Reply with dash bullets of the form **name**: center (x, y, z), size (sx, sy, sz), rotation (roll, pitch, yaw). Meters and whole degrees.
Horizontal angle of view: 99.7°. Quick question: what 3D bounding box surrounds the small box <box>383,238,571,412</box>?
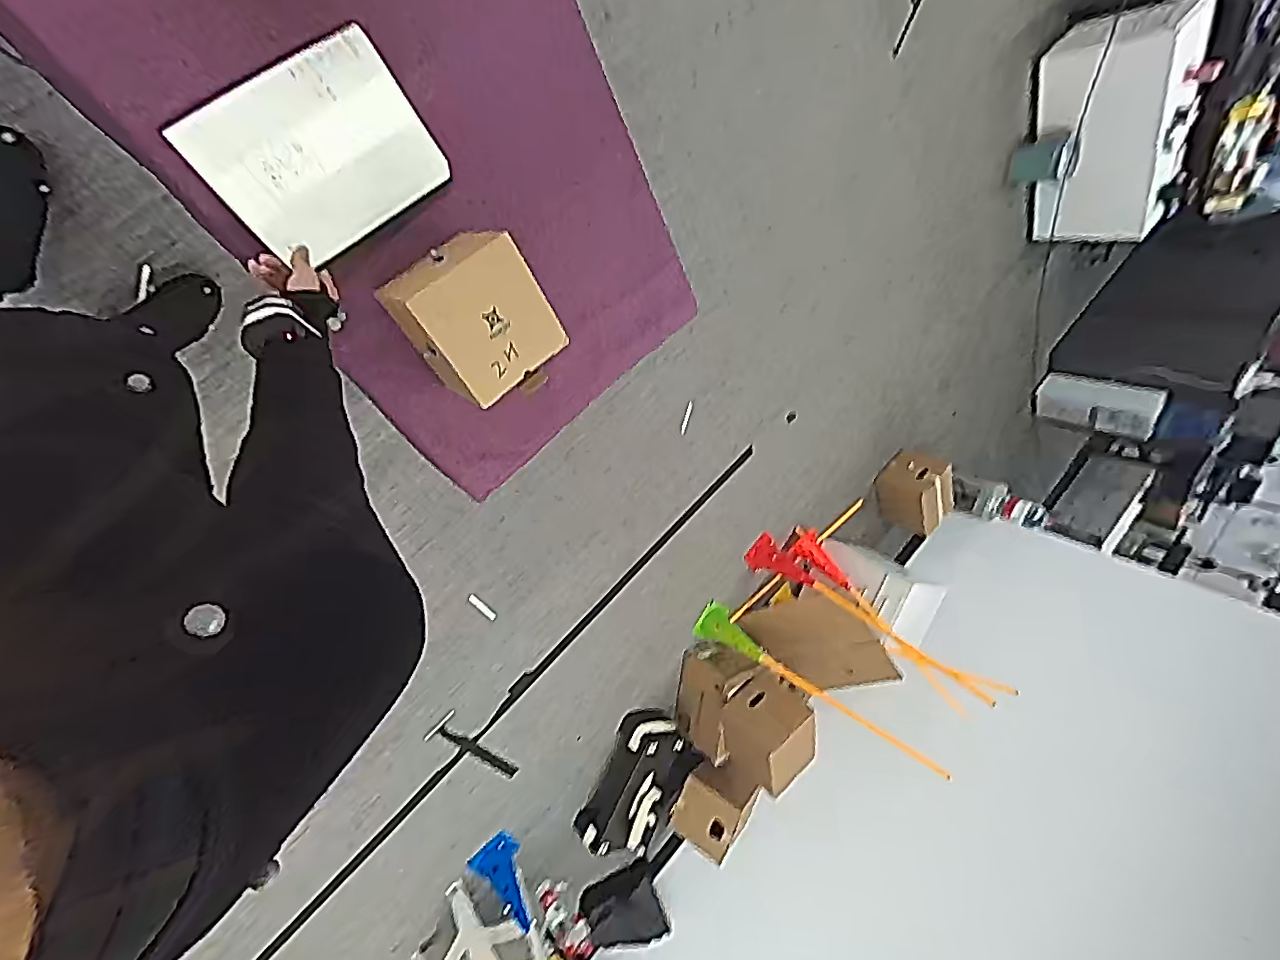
- **small box**: center (-0.240, -0.229, 0.790), size (0.168, 0.176, 0.179), rotation (-43, 130, -16)
